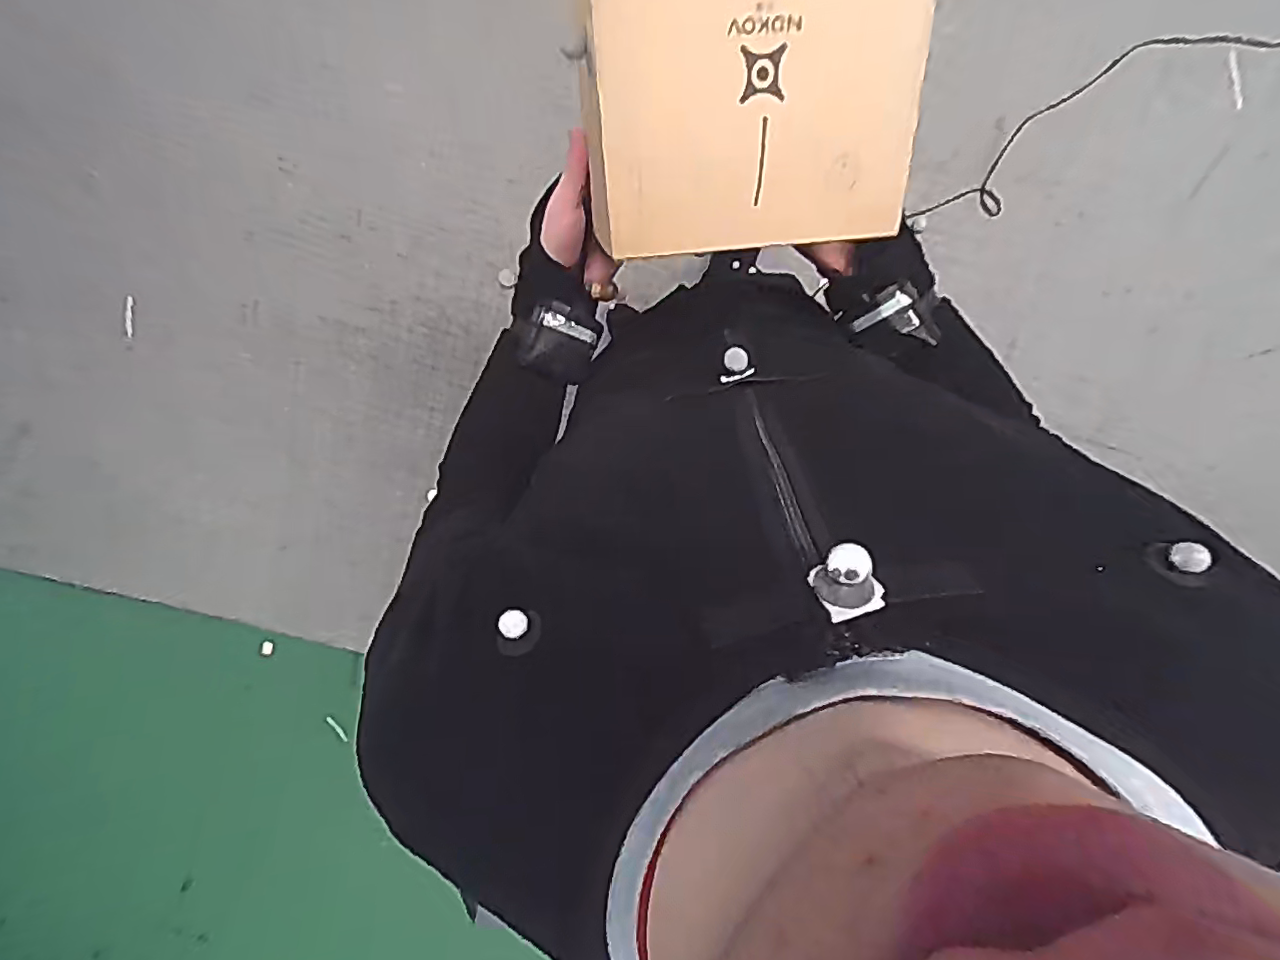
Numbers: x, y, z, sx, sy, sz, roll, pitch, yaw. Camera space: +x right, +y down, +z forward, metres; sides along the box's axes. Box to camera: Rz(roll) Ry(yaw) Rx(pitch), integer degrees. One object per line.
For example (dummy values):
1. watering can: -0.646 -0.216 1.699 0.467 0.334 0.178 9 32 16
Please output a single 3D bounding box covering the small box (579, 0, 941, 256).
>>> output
1. small box: 0.053 -0.244 0.331 0.168 0.176 0.179 -6 120 -5
